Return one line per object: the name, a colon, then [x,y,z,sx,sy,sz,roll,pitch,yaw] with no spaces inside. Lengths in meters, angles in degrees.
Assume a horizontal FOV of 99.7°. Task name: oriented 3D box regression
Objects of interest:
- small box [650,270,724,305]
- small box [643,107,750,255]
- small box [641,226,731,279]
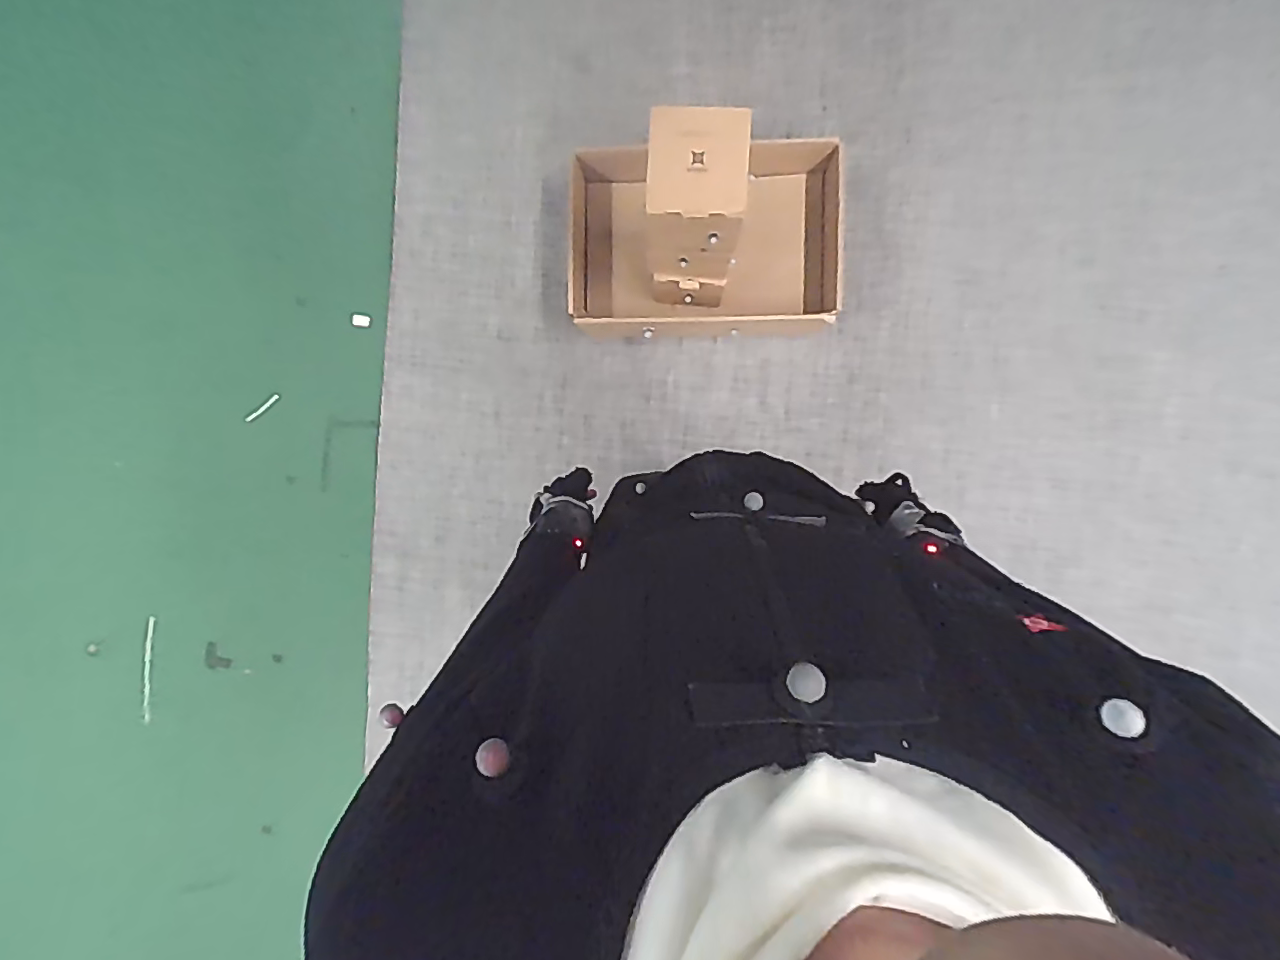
small box: [0.120,-0.527,1.285,0.168,0.176,0.179,7,93,3]
small box: [0.095,-0.518,0.959,0.168,0.176,0.179,4,90,2]
small box: [0.106,-0.532,1.120,0.179,0.176,0.168,9,92,4]
